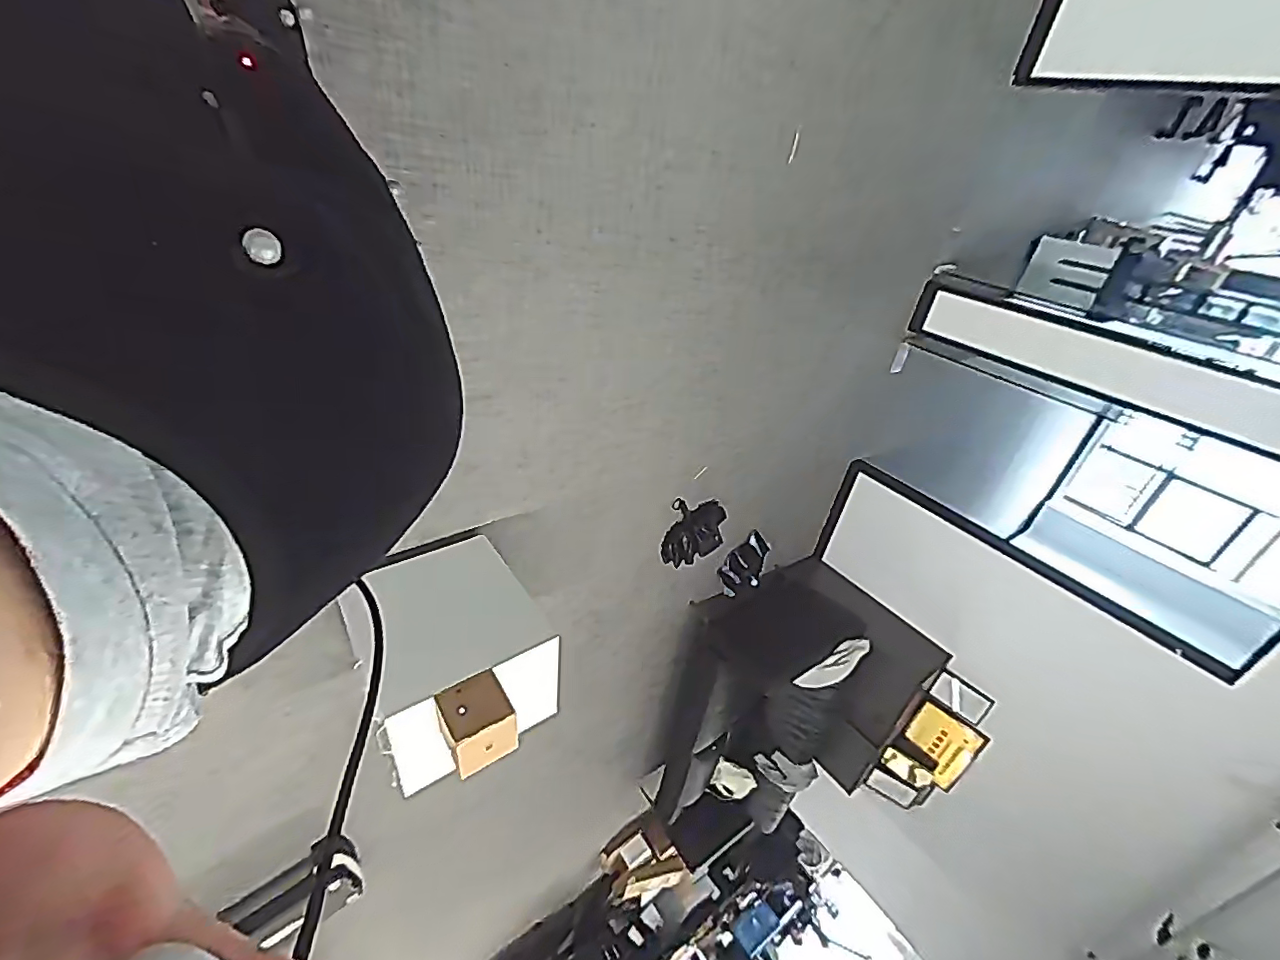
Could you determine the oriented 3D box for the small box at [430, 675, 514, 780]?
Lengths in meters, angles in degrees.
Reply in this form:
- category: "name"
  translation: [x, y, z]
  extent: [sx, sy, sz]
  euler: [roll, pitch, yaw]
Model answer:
- category: "small box"
  translation: [-0.456, 0.660, 1.466]
  extent: [0.168, 0.176, 0.179]
  euler: [-19, 134, -31]
